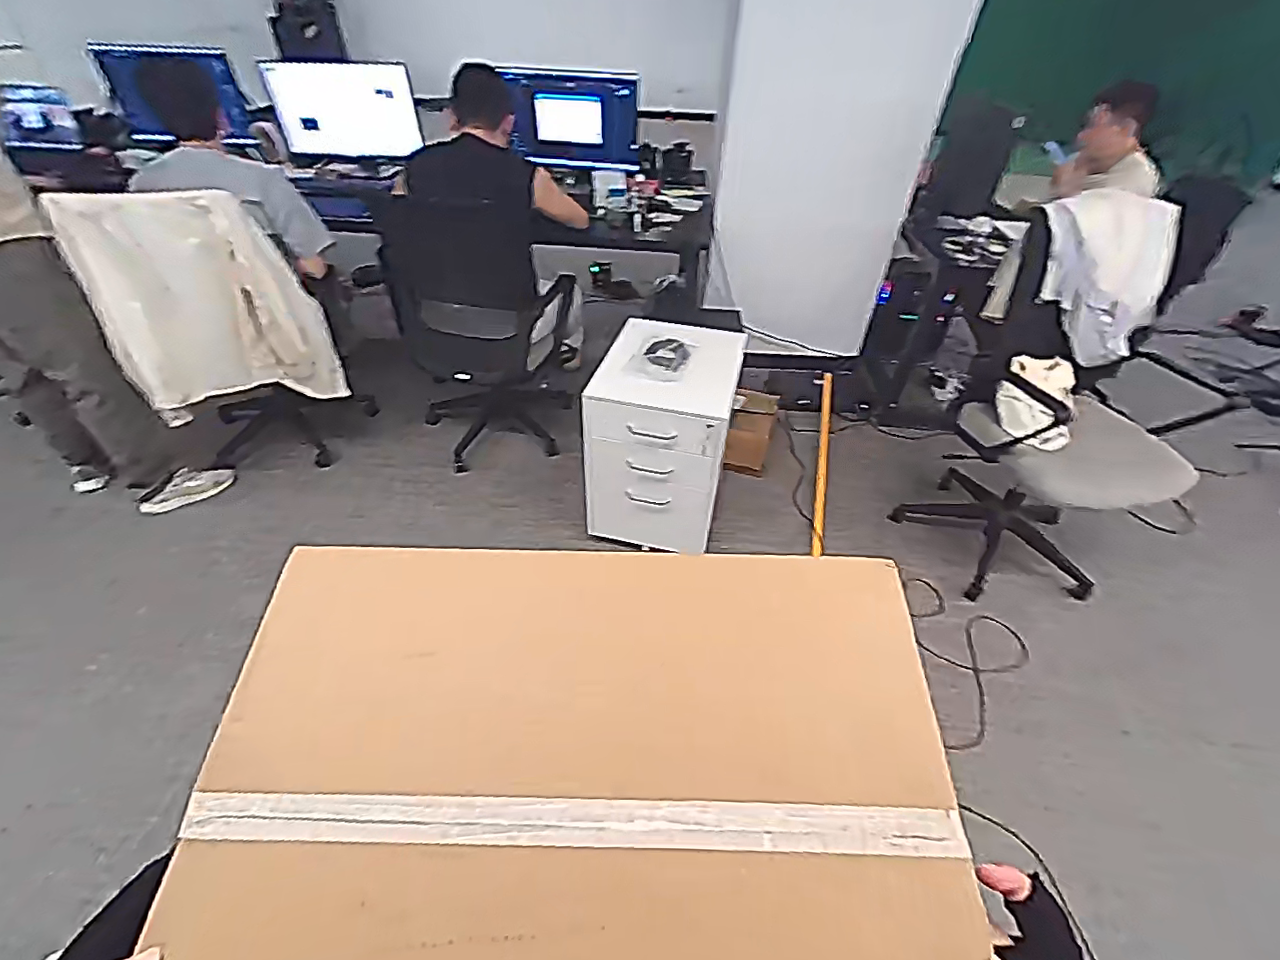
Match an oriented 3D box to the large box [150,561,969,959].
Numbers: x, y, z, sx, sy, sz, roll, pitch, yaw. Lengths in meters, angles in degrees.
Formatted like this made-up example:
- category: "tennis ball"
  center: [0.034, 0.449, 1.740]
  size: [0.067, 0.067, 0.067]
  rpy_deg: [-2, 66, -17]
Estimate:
- category: "large box"
  center: [-0.039, 0.267, 0.416]
  size: [0.408, 0.320, 0.320]
  rpy_deg: [1, 58, 1]
